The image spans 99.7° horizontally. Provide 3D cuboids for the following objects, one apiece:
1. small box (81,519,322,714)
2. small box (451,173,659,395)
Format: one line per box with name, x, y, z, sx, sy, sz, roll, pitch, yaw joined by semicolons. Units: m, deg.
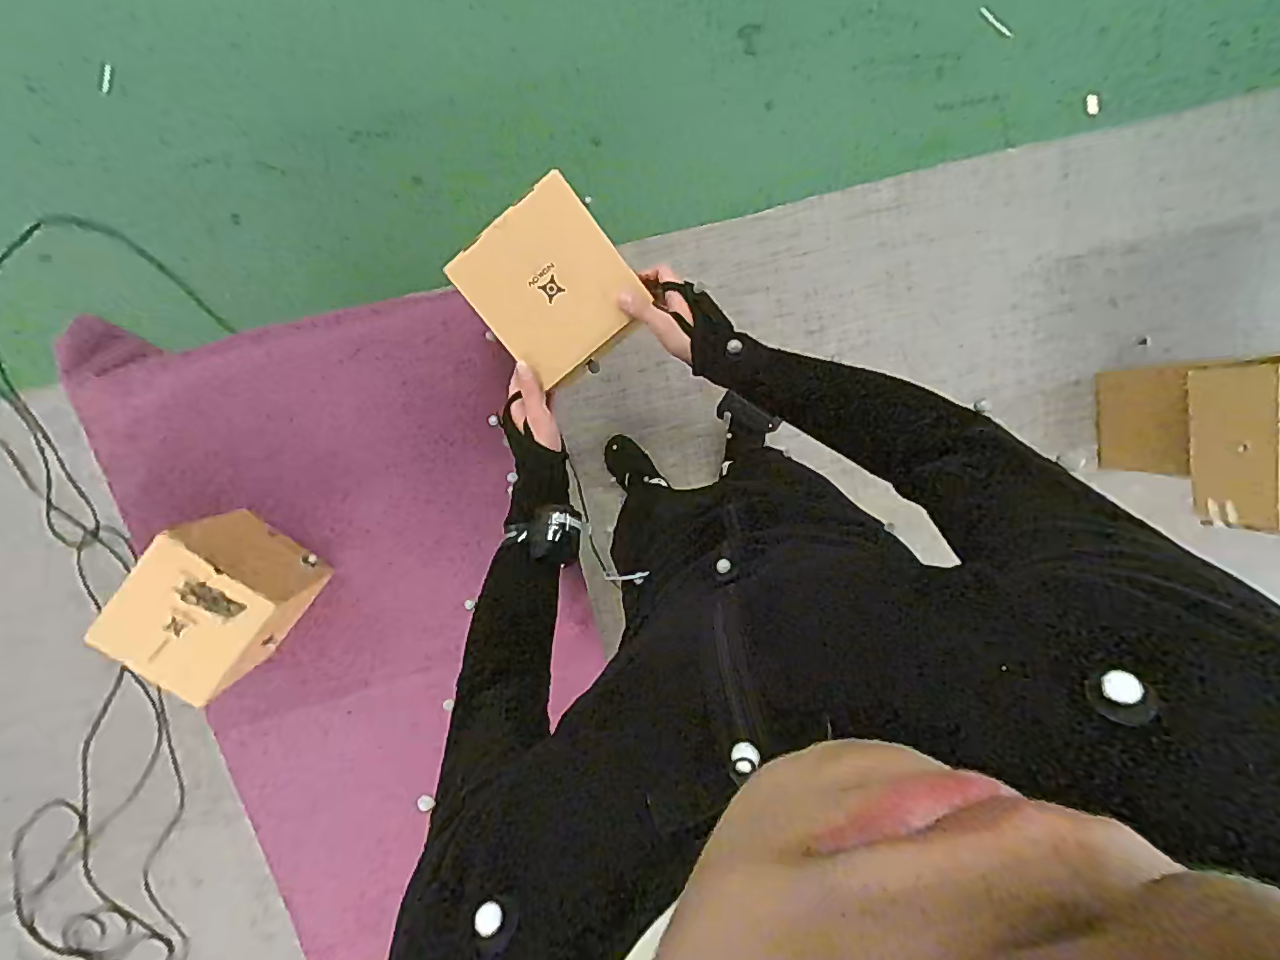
small box;-0.589;0.176;0.759;0.168;0.176;0.179;38;92;-8
small box;-0.089;-0.226;0.667;0.168;0.176;0.179;-37;97;7
